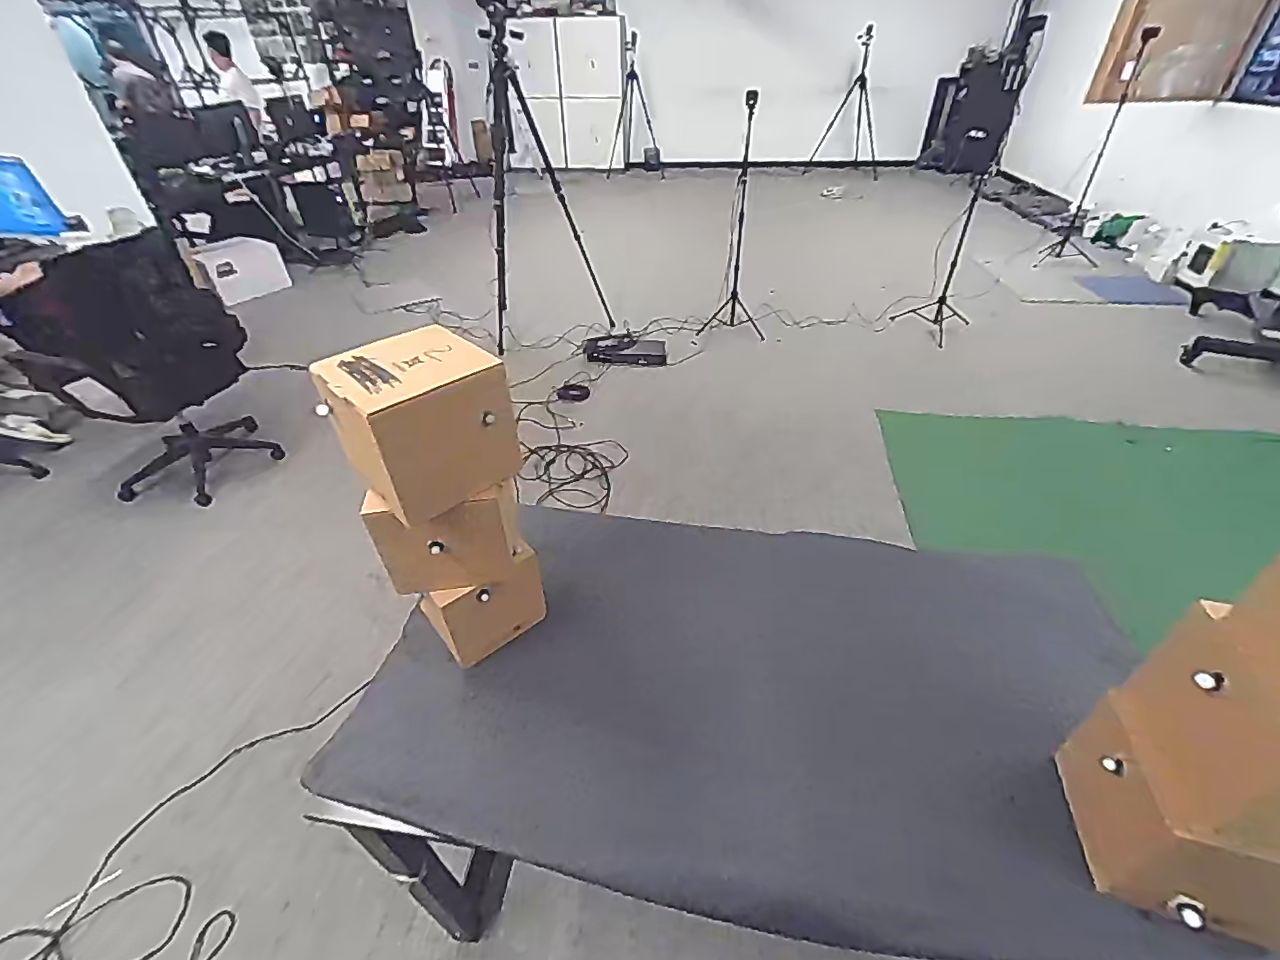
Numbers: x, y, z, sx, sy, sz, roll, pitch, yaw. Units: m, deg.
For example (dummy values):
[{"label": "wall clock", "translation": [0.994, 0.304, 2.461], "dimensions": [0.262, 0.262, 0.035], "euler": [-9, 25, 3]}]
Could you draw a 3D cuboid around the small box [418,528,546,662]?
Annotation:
[{"label": "small box", "translation": [-0.281, 0.171, 0.925], "dimensions": [0.168, 0.176, 0.179], "euler": [-30, 47, -30]}]

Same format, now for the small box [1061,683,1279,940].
[{"label": "small box", "translation": [0.629, 0.374, 0.622], "dimensions": [0.168, 0.176, 0.179], "euler": [8, 37, 15]}]

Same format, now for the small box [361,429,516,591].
[{"label": "small box", "translation": [-0.286, 0.046, 0.817], "dimensions": [0.179, 0.176, 0.168], "euler": [-8, 40, -6]}]

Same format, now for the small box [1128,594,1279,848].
[{"label": "small box", "translation": [0.639, 0.243, 0.526], "dimensions": [0.168, 0.176, 0.179], "euler": [7, 36, 14]}]
